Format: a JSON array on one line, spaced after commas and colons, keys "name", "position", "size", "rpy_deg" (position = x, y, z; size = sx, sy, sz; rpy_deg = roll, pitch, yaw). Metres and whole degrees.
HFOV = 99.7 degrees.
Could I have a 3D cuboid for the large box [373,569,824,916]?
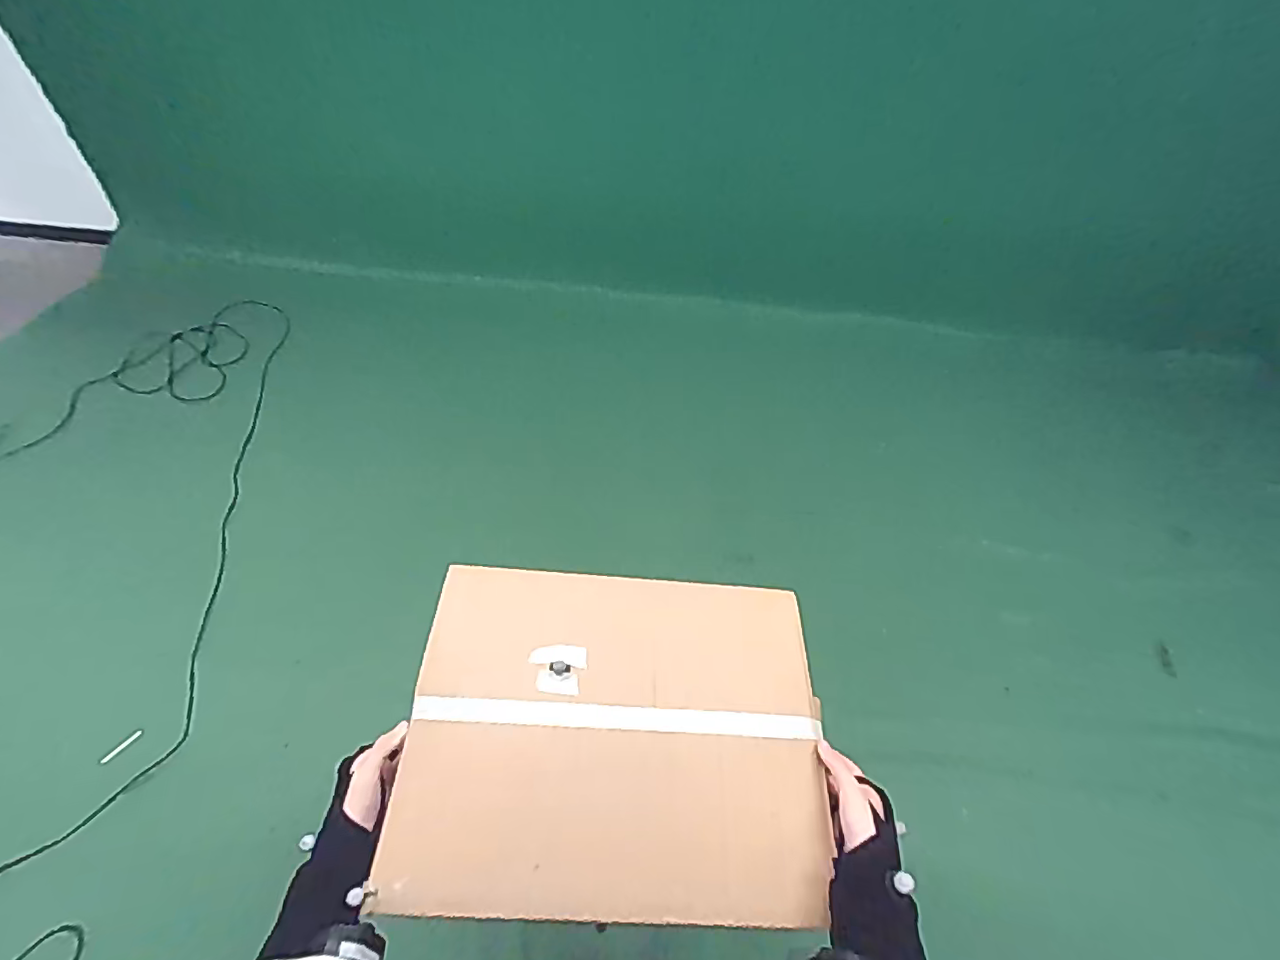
[{"name": "large box", "position": [-0.039, 0.327, 0.677], "size": [0.408, 0.320, 0.320], "rpy_deg": [5, 54, -3]}]
